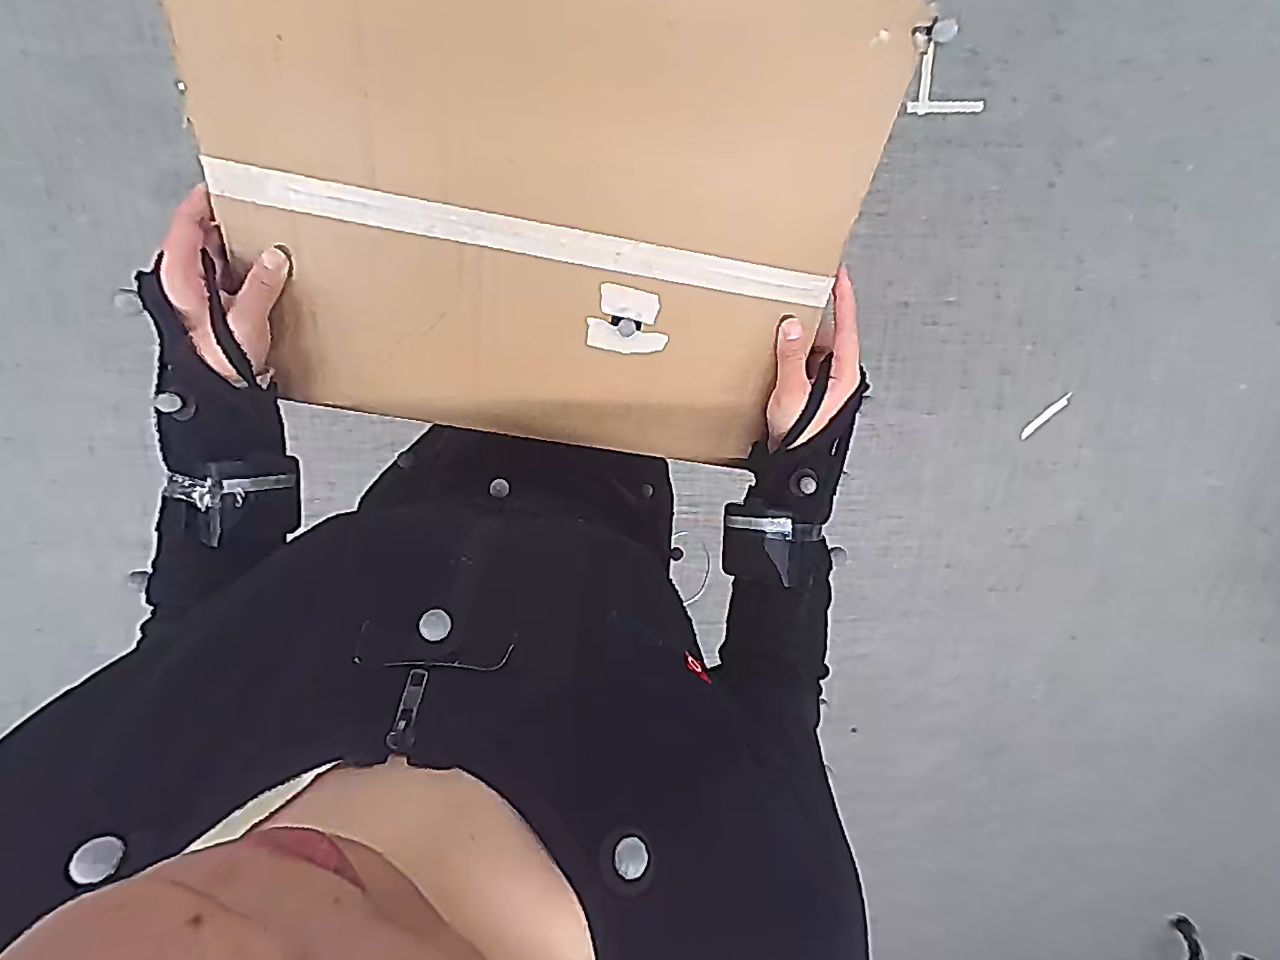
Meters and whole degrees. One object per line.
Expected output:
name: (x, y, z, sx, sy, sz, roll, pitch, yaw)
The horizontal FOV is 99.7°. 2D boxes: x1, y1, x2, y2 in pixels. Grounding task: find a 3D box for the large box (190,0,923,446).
large box: (-0.067, -0.261, 0.480, 0.408, 0.320, 0.320, 8, 126, -7)
